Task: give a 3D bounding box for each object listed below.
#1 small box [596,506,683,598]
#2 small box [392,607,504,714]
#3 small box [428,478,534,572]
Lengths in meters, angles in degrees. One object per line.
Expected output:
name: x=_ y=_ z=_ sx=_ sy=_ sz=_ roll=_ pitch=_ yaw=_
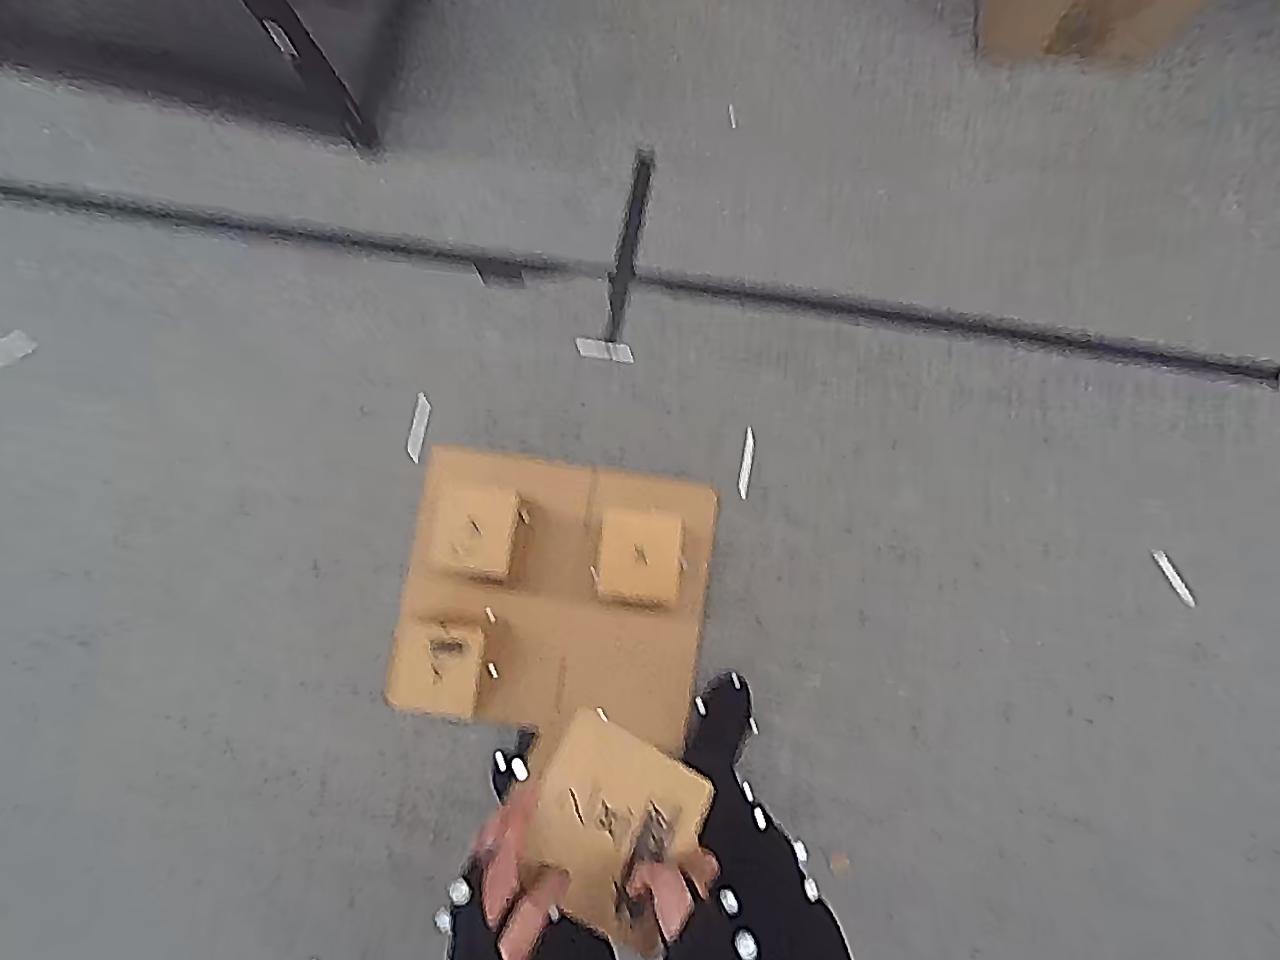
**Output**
small box: x=0.000 y=0.155 z=1.183 sx=0.168 sy=0.176 sz=0.179 roll=5 pitch=84 yaw=2
small box: x=-0.402 y=0.378 z=1.164 sx=0.168 sy=0.176 sz=0.179 roll=7 pitch=85 yaw=3
small box: x=-0.339 y=0.101 z=1.191 sx=0.168 sy=0.176 sz=0.179 roll=8 pitch=84 yaw=3
